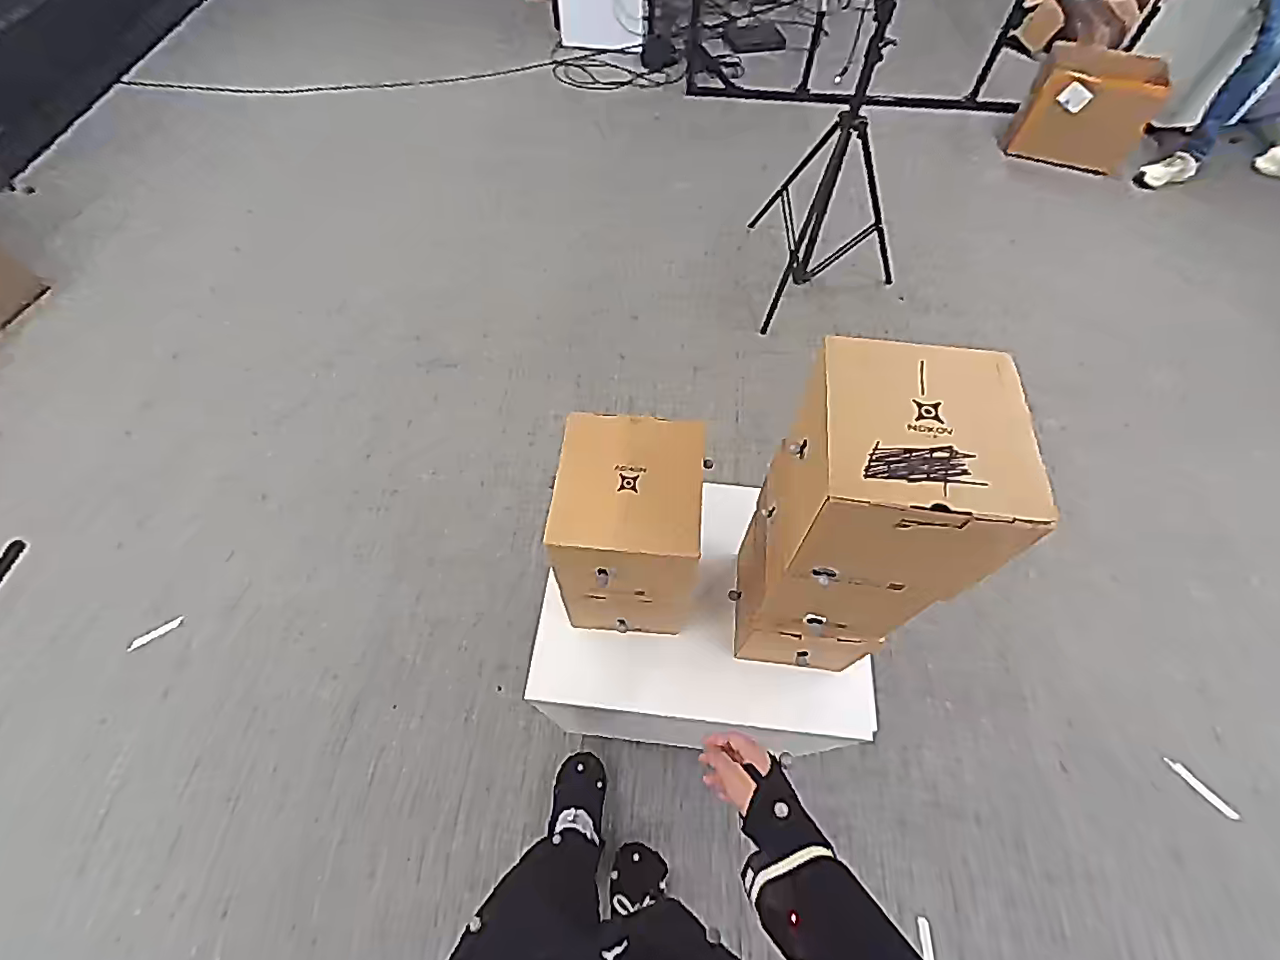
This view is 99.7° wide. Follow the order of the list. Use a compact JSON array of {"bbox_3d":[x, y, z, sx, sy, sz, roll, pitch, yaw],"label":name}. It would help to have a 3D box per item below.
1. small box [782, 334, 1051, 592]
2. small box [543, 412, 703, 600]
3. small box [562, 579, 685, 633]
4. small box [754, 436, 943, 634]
[{"bbox_3d":[0.234,-0.009,0.511,0.168,0.176,0.179,7,59,5],"label":"small box"},{"bbox_3d":[-0.014,0.039,0.671,0.168,0.176,0.179,4,59,1],"label":"small box"},{"bbox_3d":[-0.018,0.117,0.813,0.168,0.176,0.179,4,61,1],"label":"small box"},{"bbox_3d":[0.234,0.071,0.654,0.168,0.176,0.179,6,61,4],"label":"small box"}]
